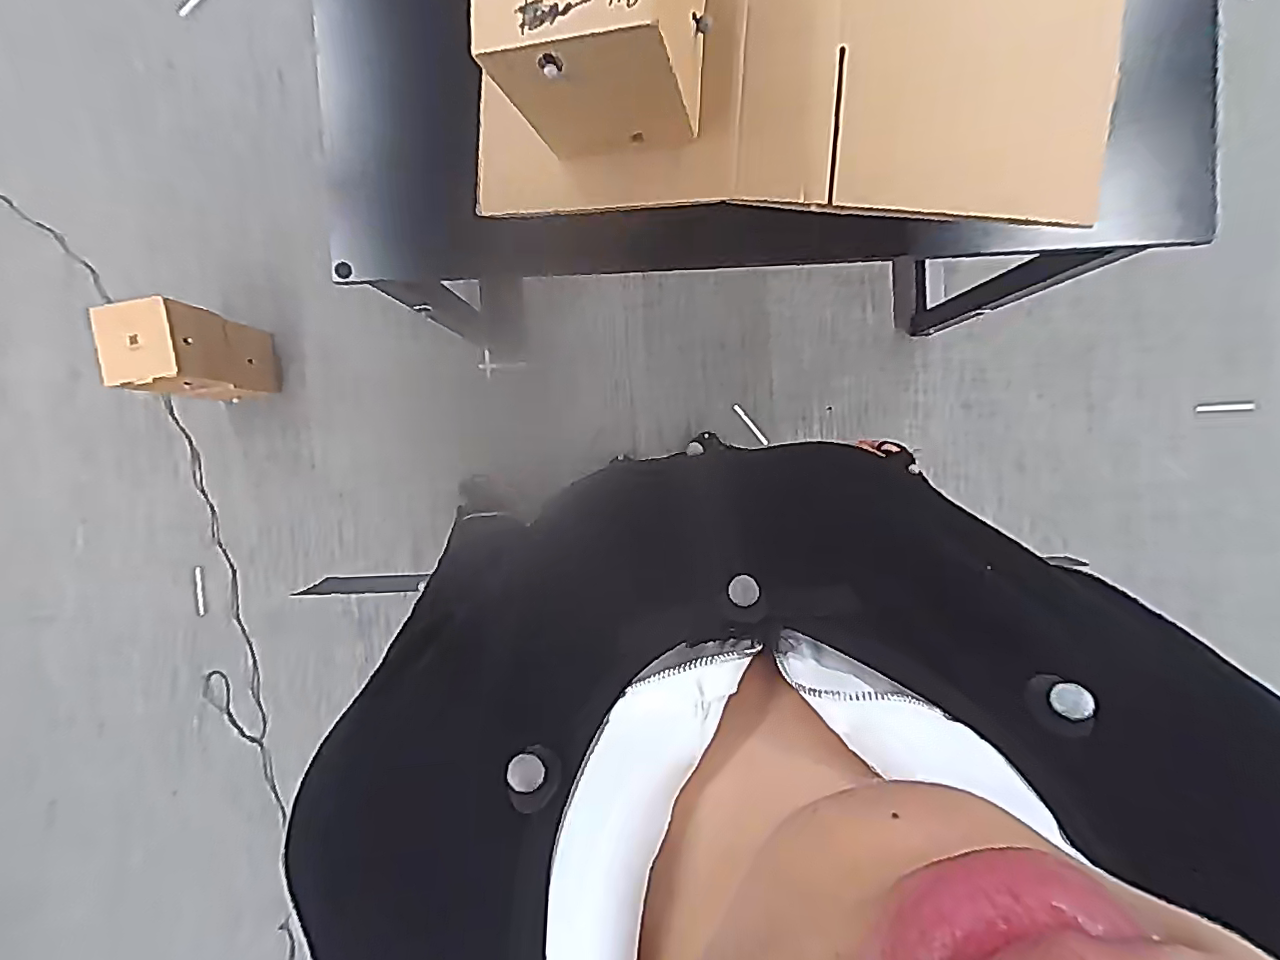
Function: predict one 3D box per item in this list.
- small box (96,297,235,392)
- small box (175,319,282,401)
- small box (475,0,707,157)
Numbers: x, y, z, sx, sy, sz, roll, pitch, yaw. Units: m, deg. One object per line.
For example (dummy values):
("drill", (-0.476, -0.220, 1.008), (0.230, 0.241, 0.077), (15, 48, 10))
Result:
("small box", (-1.089, -0.306, 1.258), (0.168, 0.176, 0.179), (-9, 92, 1))
("small box", (-1.084, -0.309, 1.421), (0.168, 0.176, 0.179), (-6, 94, 2))
("small box", (-0.033, -0.443, 0.507), (0.168, 0.176, 0.179), (4, 93, 17))
